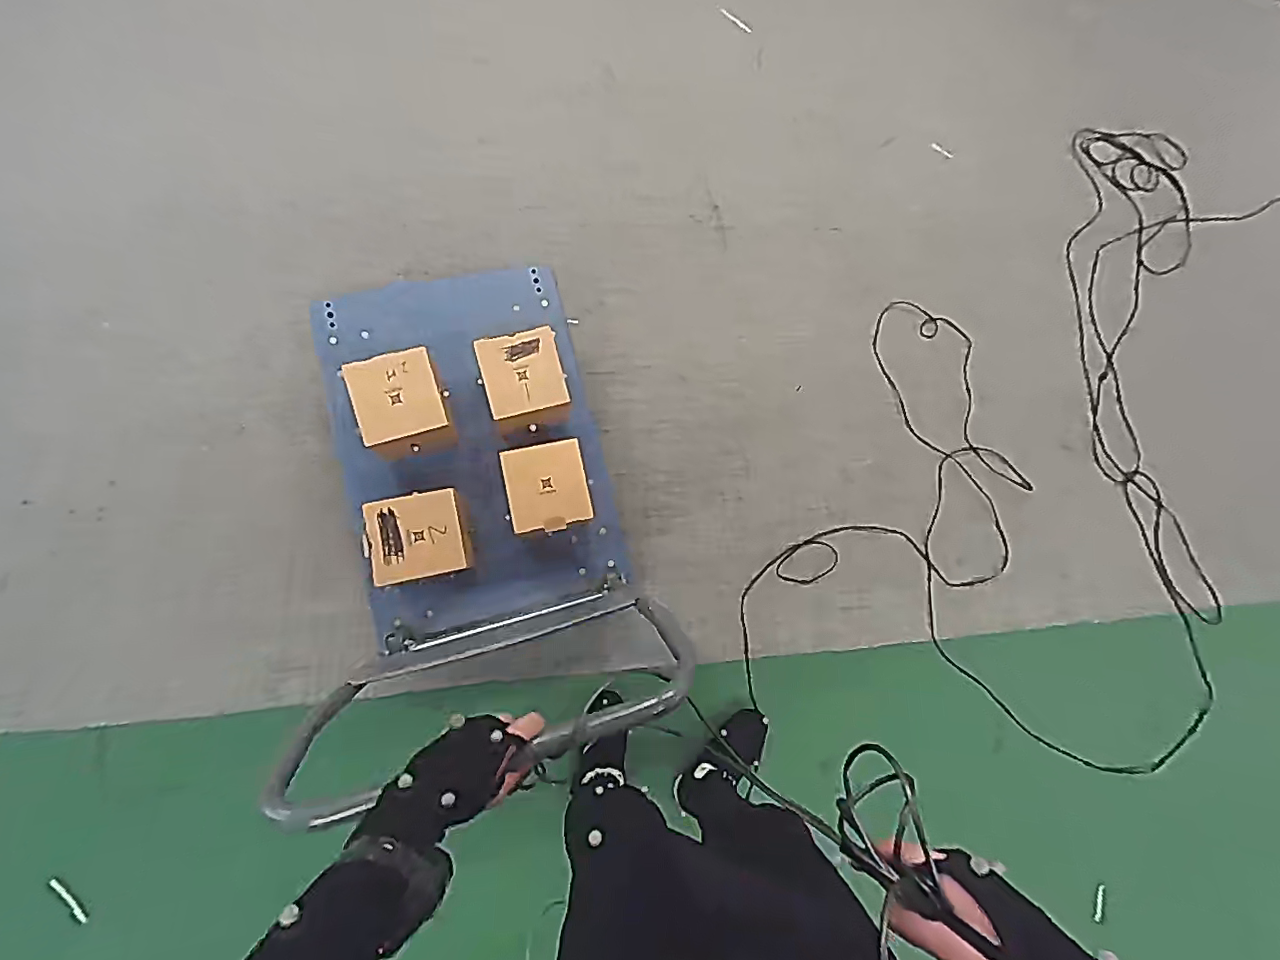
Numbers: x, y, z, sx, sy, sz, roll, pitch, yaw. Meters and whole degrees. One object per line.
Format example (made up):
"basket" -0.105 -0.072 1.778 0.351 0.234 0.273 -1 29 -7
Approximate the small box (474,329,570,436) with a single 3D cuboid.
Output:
"small box" -0.261 -0.211 1.209 0.168 0.176 0.179 -16 87 -10

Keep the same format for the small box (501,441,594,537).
"small box" -0.206 0.026 1.194 0.168 0.176 0.179 -12 87 -10

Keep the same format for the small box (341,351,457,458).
"small box" -0.506 -0.152 1.161 0.168 0.176 0.179 -17 87 -12
